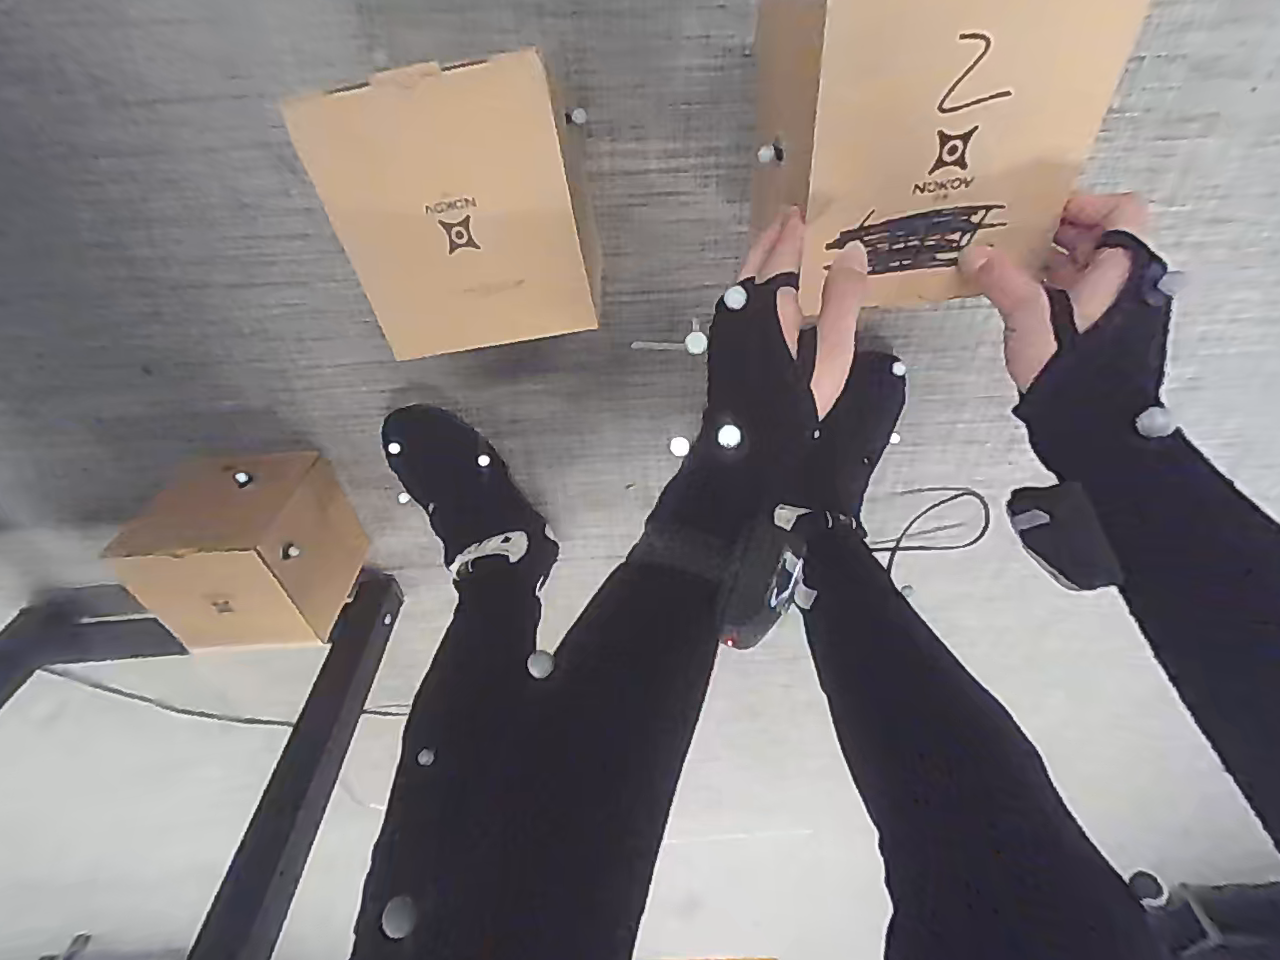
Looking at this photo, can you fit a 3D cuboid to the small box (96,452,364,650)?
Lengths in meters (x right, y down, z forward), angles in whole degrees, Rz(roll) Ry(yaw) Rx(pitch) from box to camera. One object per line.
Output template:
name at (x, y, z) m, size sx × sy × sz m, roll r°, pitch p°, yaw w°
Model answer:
small box at (-0.475, 0.086, 0.667) m, size 0.168 × 0.176 × 0.179 m, roll -4°, pitch 128°, yaw 1°
